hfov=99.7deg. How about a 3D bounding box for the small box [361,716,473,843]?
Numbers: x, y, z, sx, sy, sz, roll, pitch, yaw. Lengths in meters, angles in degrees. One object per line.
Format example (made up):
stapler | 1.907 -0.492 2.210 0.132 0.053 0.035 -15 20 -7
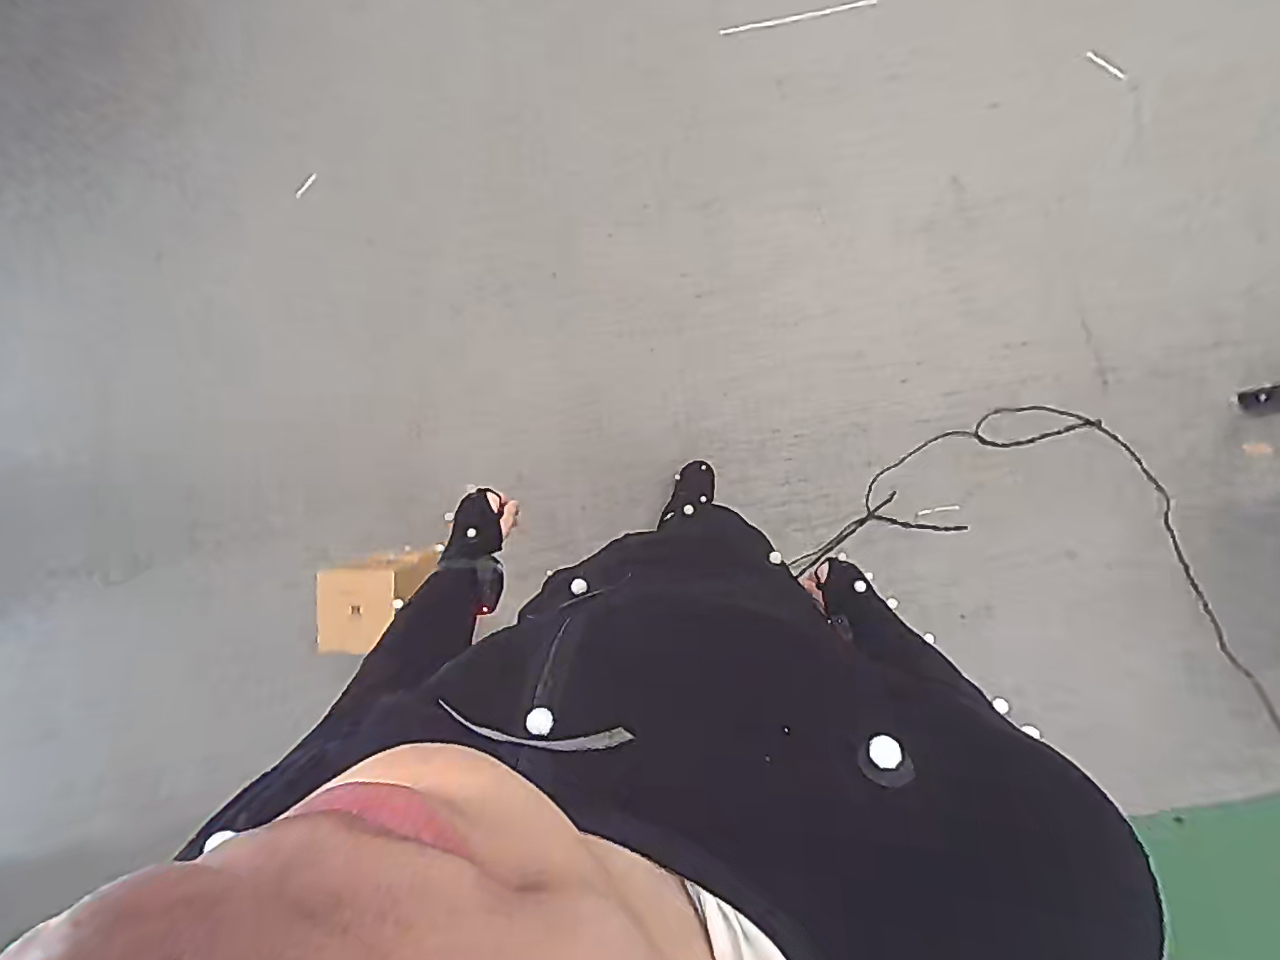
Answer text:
small box | -0.488 0.661 1.209 0.168 0.176 0.179 -11 89 0

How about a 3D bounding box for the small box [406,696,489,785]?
small box | -0.496 0.671 1.374 0.179 0.176 0.168 -13 89 2

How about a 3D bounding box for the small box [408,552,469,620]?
small box | -0.595 0.300 1.542 0.179 0.176 0.168 -3 89 0

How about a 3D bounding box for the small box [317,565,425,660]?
small box | -0.597 0.292 1.217 0.168 0.176 0.179 0 90 0

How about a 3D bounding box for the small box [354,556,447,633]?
small box | -0.606 0.290 1.380 0.168 0.176 0.179 -4 89 1
